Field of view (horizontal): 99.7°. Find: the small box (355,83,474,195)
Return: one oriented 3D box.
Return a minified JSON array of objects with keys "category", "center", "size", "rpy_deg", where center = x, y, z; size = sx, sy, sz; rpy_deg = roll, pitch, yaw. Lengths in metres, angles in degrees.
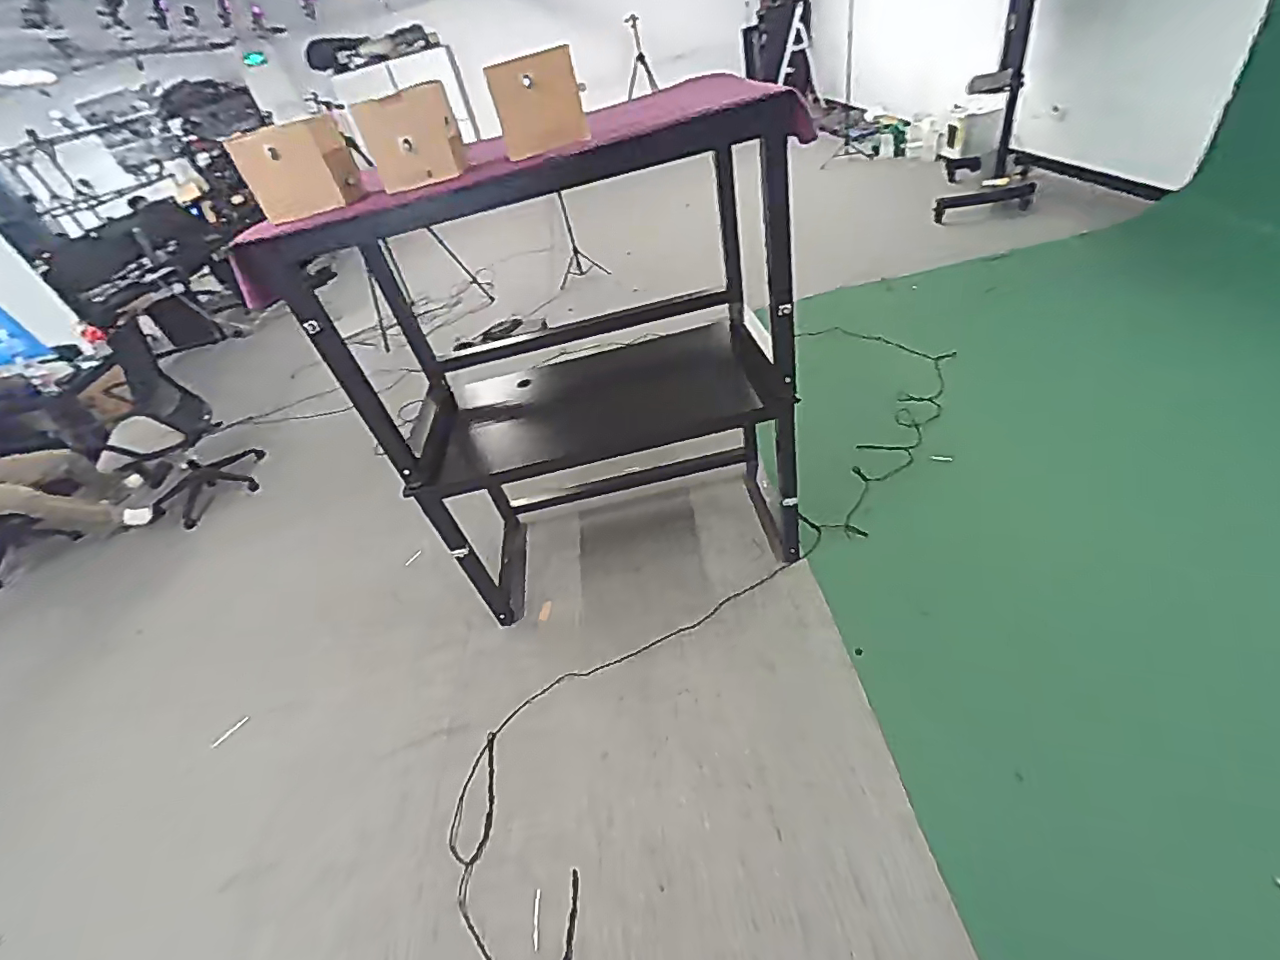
[{"category":"small box","center":[-0.478,-0.740,1.180],"size":[0.168,0.176,0.179],"rpy_deg":[-13,39,3]}]

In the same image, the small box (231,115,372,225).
[{"category":"small box","center":[-0.733,-0.682,1.195],"size":[0.179,0.176,0.168],"rpy_deg":[-13,40,2]}]

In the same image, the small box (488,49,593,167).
[{"category":"small box","center":[-0.203,-0.800,1.163],"size":[0.179,0.176,0.168],"rpy_deg":[-13,38,5]}]
